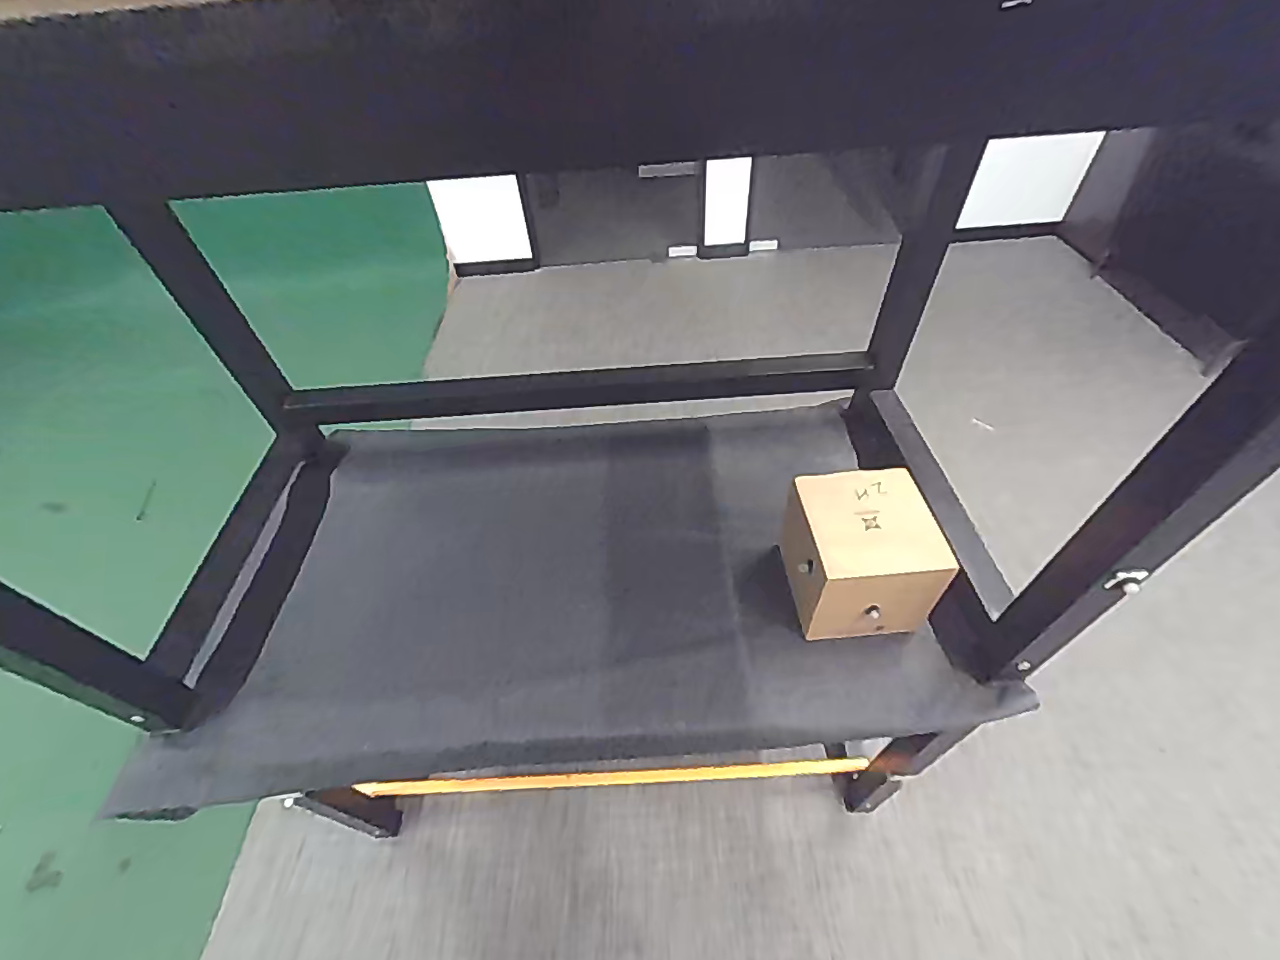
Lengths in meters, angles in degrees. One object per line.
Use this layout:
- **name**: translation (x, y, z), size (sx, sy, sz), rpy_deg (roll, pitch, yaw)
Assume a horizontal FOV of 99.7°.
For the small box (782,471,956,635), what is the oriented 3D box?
- **small box**: translation (0.313, 0.112, 0.784), size (0.168, 0.176, 0.179), rpy_deg (-5, 47, 0)
